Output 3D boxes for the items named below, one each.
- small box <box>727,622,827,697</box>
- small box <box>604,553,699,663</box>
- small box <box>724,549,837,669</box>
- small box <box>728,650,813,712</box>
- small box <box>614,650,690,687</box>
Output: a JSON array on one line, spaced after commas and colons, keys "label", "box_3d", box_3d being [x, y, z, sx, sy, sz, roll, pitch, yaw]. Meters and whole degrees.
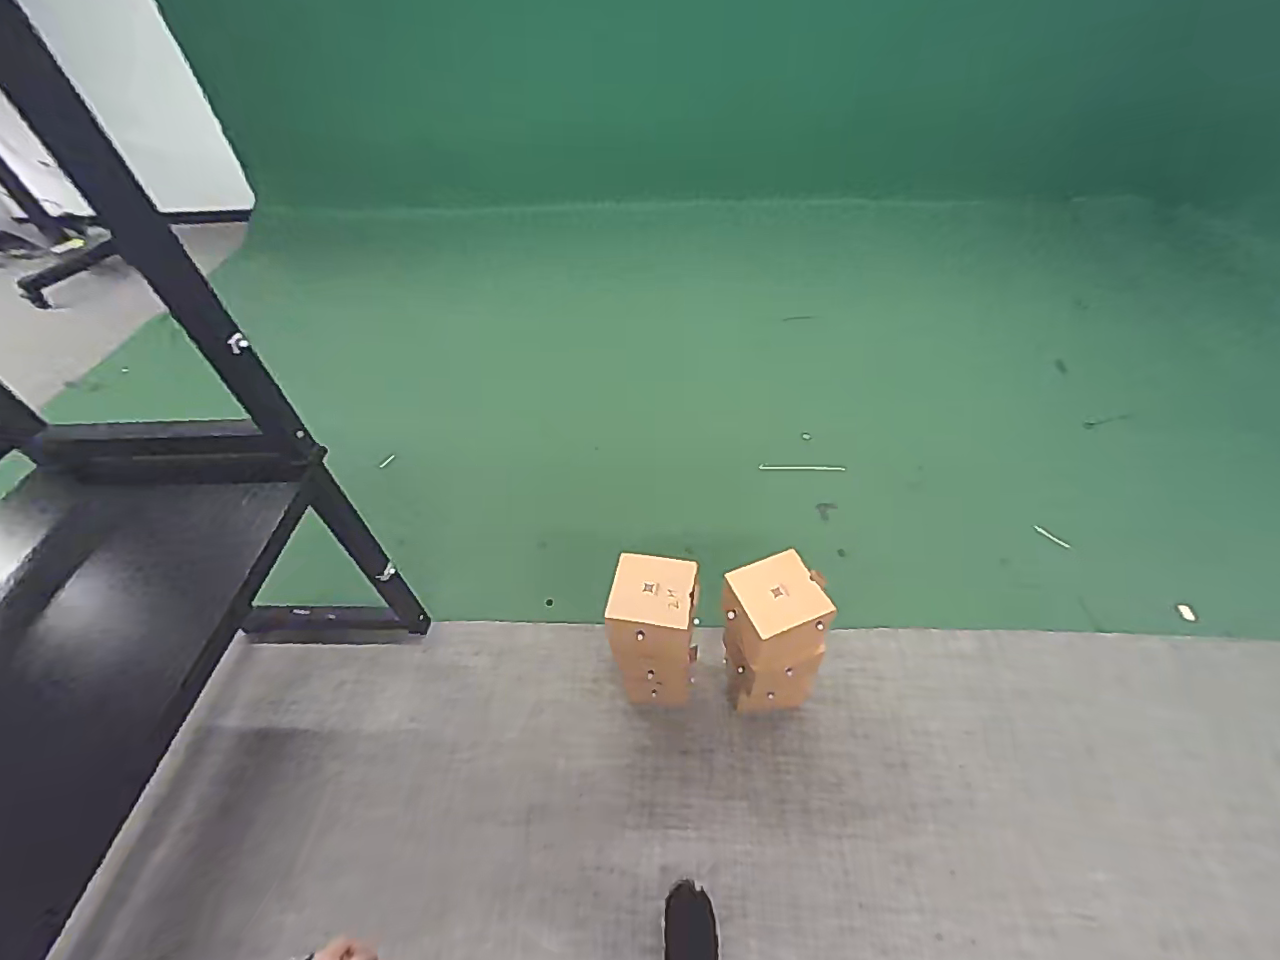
[{"label": "small box", "box_3d": [0.317, 0.396, 1.297, 0.179, 0.176, 0.168, -14, 50, -10]}, {"label": "small box", "box_3d": [0.031, 0.284, 1.191, 0.179, 0.176, 0.168, 7, 49, 10]}, {"label": "small box", "box_3d": [0.294, 0.284, 1.180, 0.179, 0.176, 0.168, -18, 50, -13]}, {"label": "small box", "box_3d": [0.333, 0.497, 1.424, 0.179, 0.176, 0.168, -5, 48, -2]}, {"label": "small box", "box_3d": [0.040, 0.386, 1.321, 0.168, 0.176, 0.179, 4, 49, 8]}]
